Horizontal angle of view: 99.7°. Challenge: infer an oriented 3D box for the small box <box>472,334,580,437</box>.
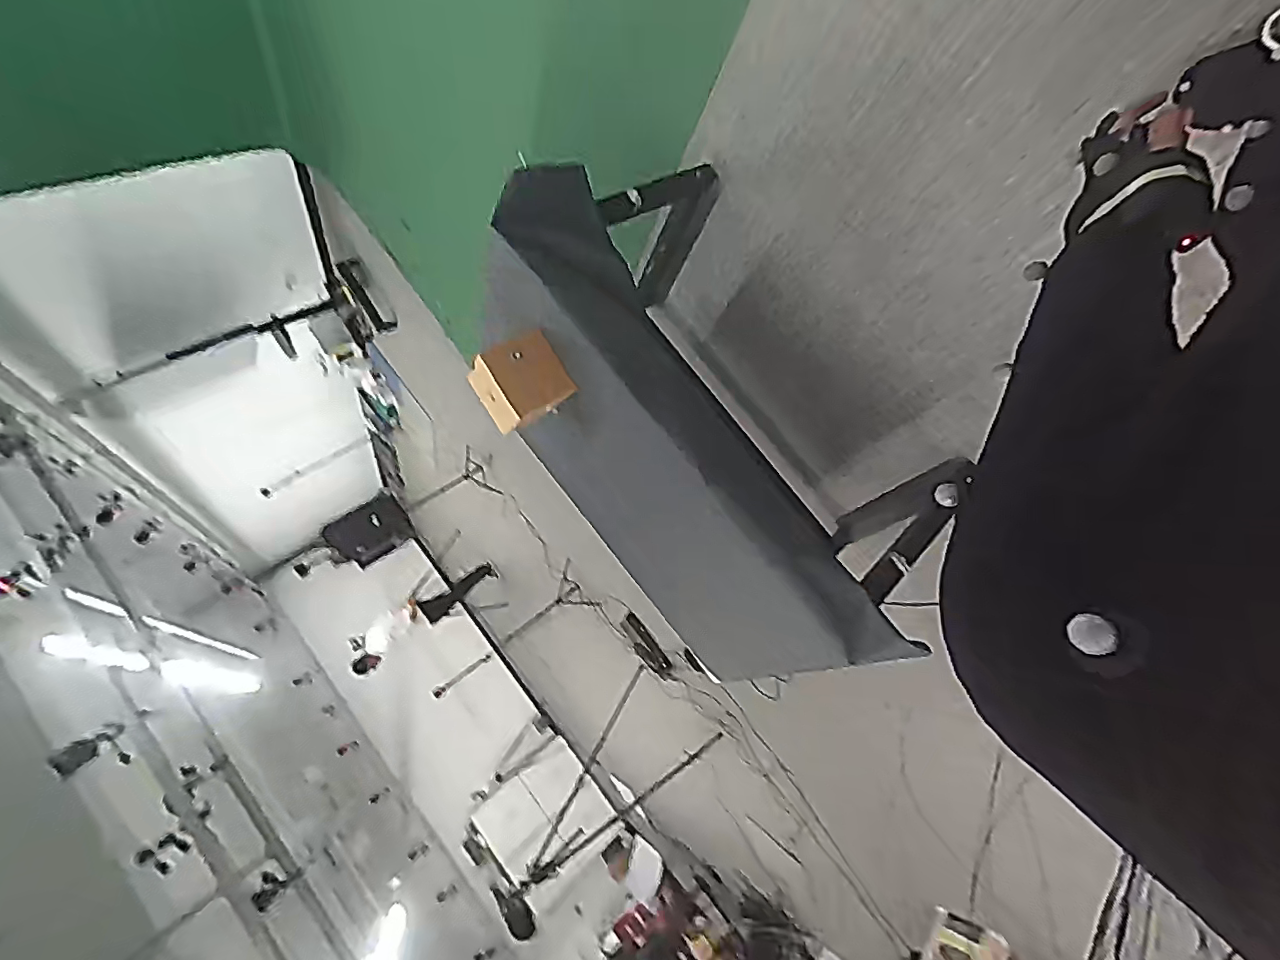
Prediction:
[{"bbox_3d":[-0.277,-0.235,1.319,0.179,0.176,0.168,57,152,-6],"label":"small box"}]
